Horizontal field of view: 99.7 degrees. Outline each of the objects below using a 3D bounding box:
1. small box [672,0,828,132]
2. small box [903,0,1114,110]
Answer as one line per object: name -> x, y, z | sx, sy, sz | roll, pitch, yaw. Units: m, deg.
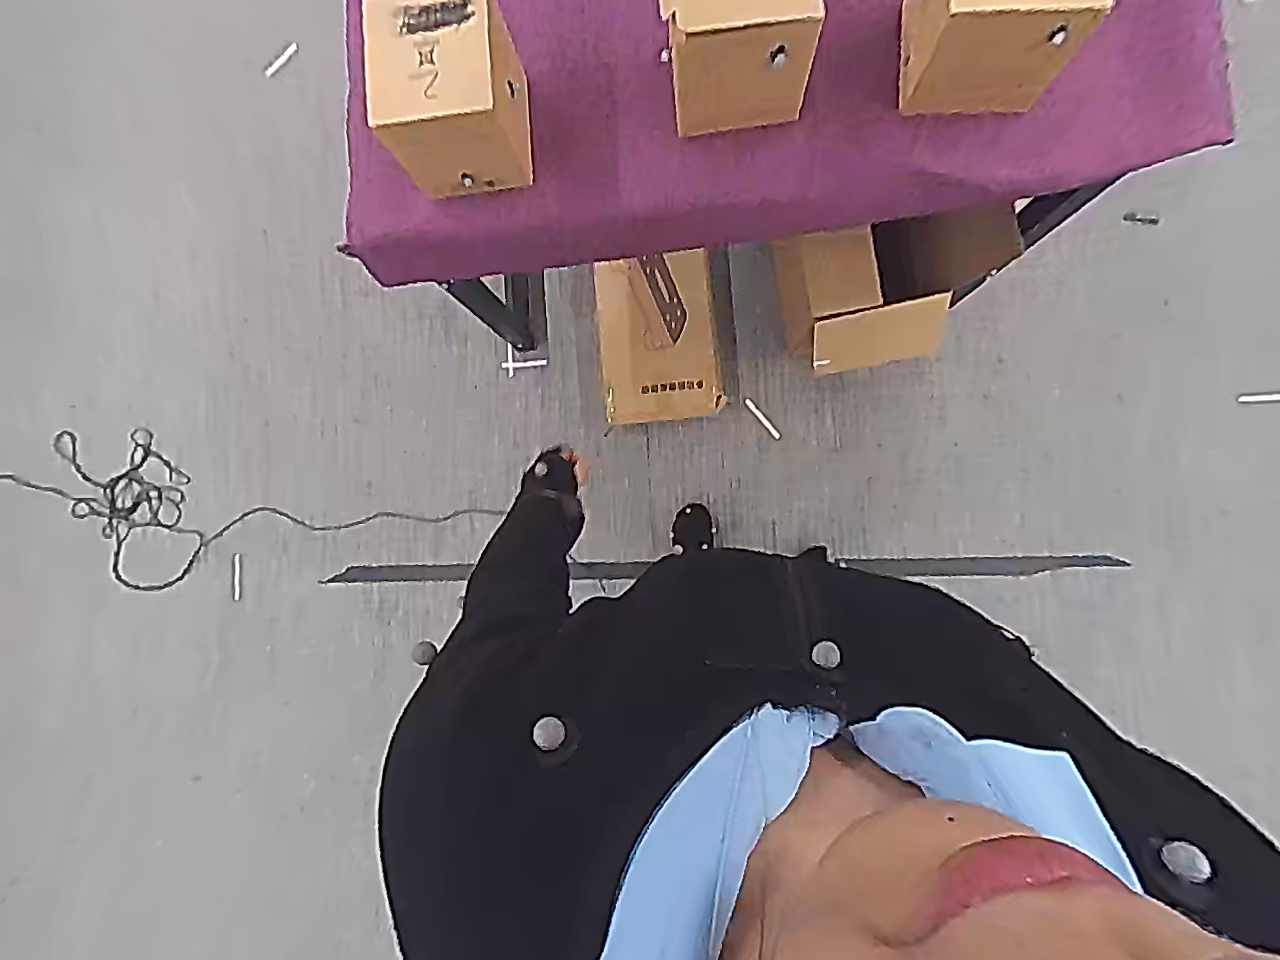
small box -> 0.132, -0.600, 0.712 | 0.179, 0.176, 0.168 | -5, 85, 6
small box -> 0.449, -0.602, 0.681 | 0.179, 0.176, 0.168 | 2, 88, 6
